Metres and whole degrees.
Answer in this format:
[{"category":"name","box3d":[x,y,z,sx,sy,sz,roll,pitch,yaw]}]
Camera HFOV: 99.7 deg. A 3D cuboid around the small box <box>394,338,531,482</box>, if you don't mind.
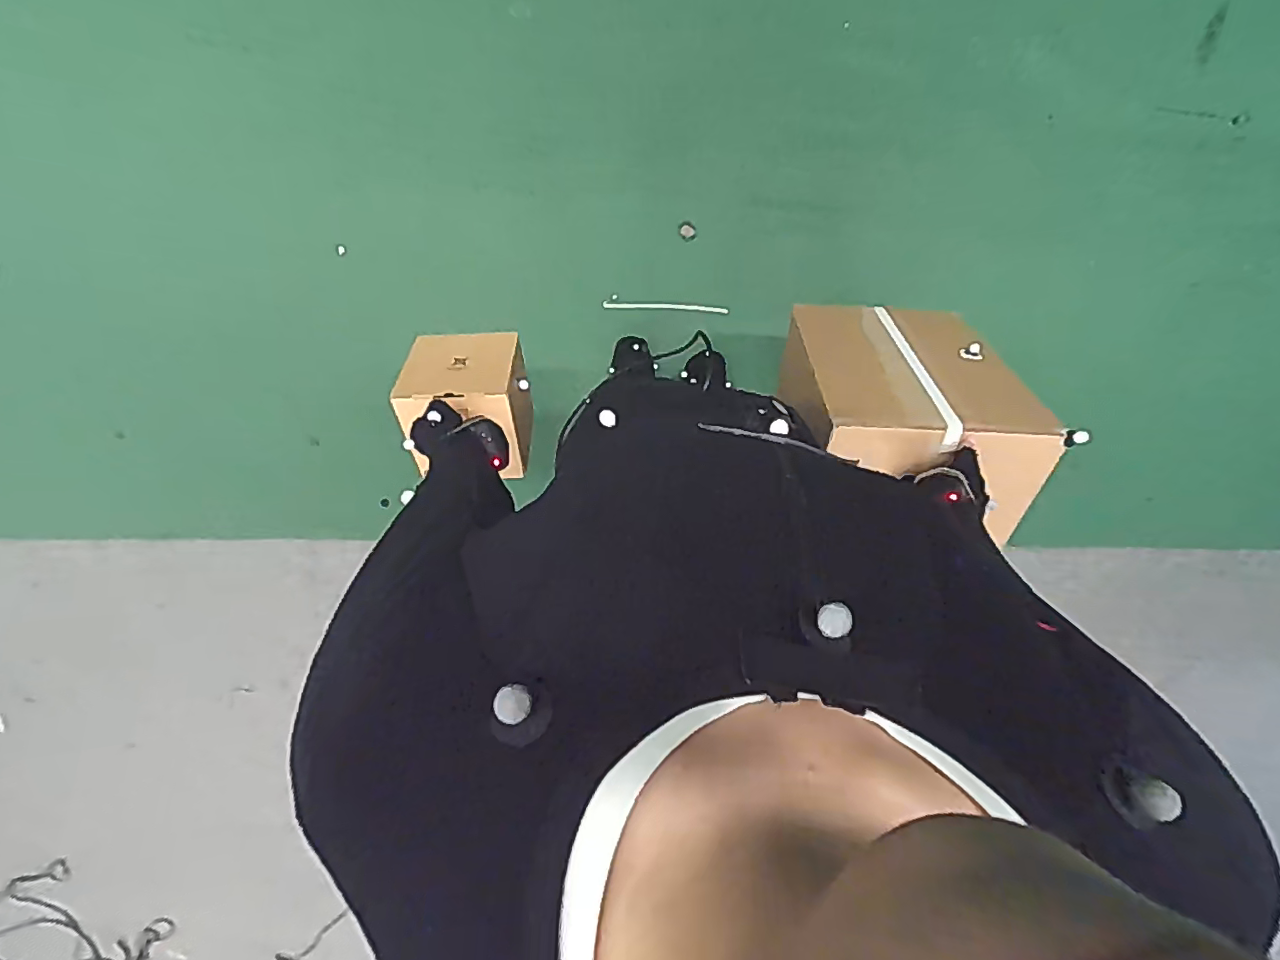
[{"category":"small box","box3d":[-0.276,-0.115,0.889,0.168,0.179,0.176,-3,135,-2]}]
